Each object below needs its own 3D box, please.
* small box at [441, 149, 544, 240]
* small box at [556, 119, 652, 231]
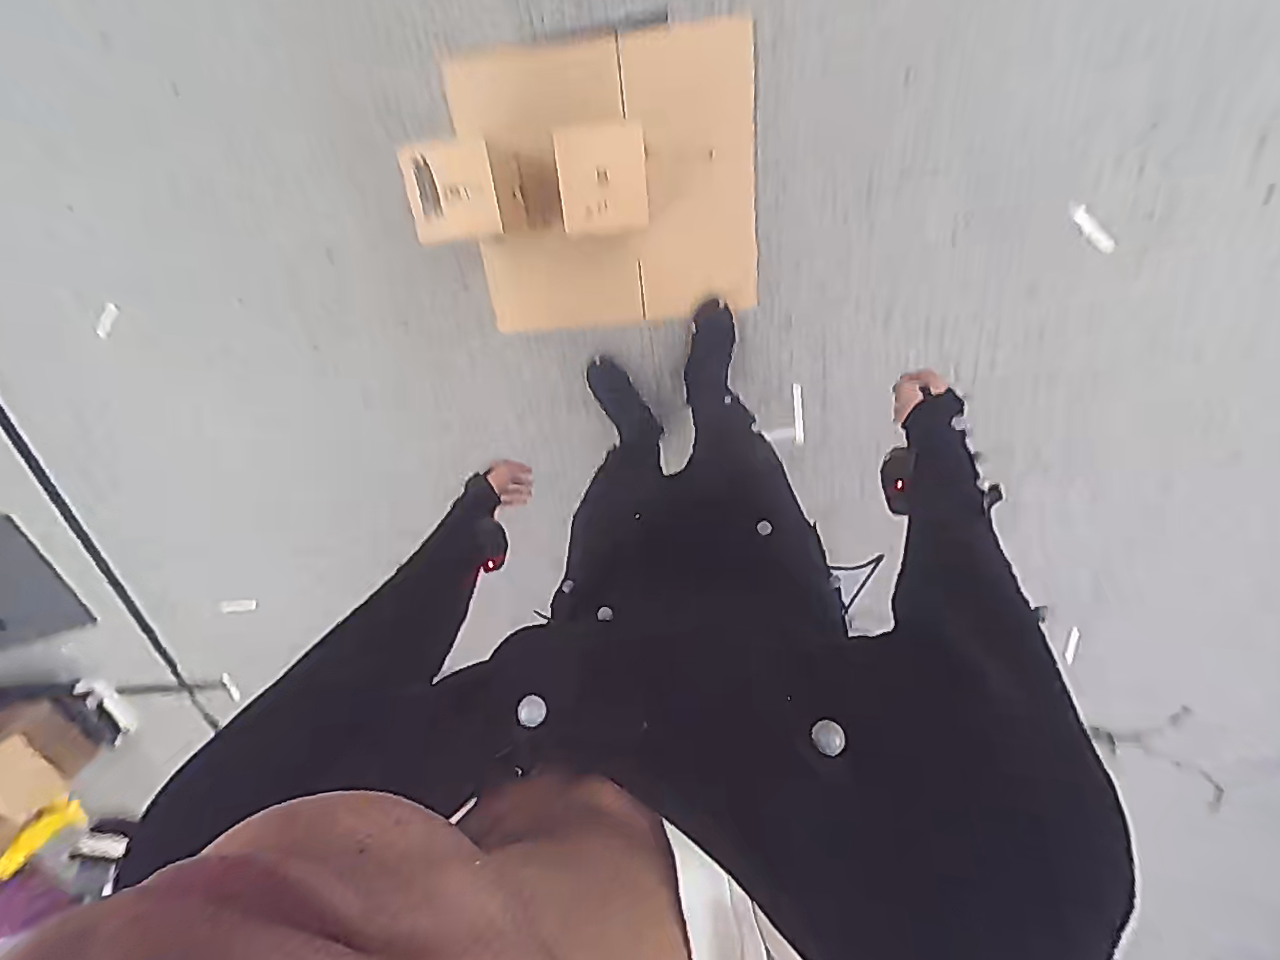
[{"bbox_3d":[-0.329,-0.658,1.253,0.179,0.176,0.168,-3,115,7],"label":"small box"},{"bbox_3d":[-0.064,-0.599,1.082,0.168,0.176,0.179,-2,116,5],"label":"small box"}]
